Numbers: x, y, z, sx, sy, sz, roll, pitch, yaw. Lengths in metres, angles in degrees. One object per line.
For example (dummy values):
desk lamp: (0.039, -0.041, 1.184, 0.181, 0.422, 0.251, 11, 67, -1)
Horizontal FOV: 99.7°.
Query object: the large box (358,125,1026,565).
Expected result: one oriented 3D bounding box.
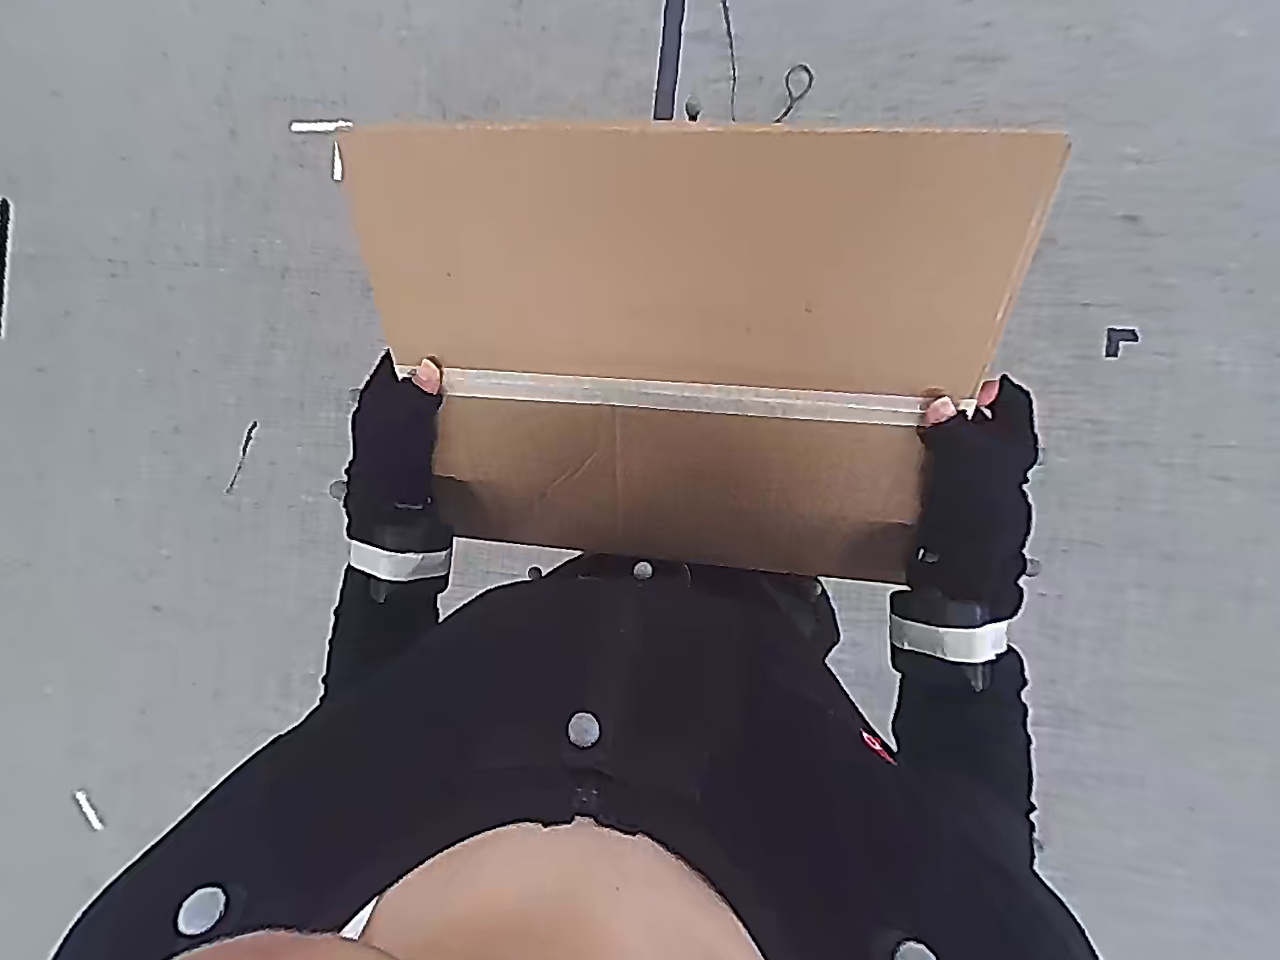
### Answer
large box: (0.041, -0.149, 0.520, 0.408, 0.320, 0.320, 5, 124, 8)
